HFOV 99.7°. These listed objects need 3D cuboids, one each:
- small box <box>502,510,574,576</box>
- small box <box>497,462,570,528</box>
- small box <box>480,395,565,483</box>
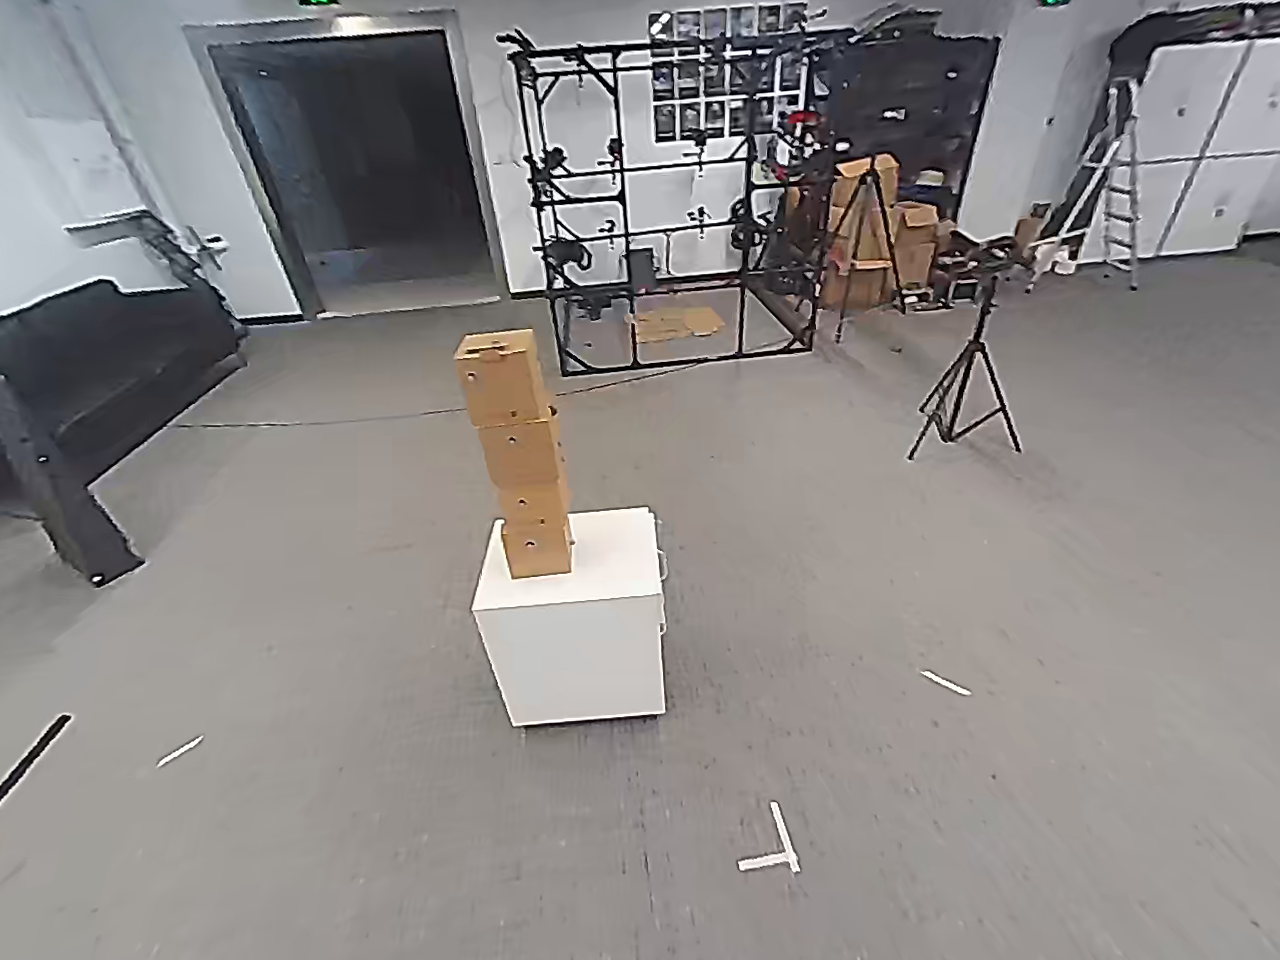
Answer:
[{"bbox_3d":[-0.292,0.165,1.583,0.179,0.176,0.168,-5,34,-3],"label":"small box"},{"bbox_3d":[-0.289,0.022,1.505,0.168,0.176,0.179,-5,33,-2],"label":"small box"},{"bbox_3d":[-0.296,-0.104,1.398,0.179,0.176,0.168,-5,34,-2],"label":"small box"}]
